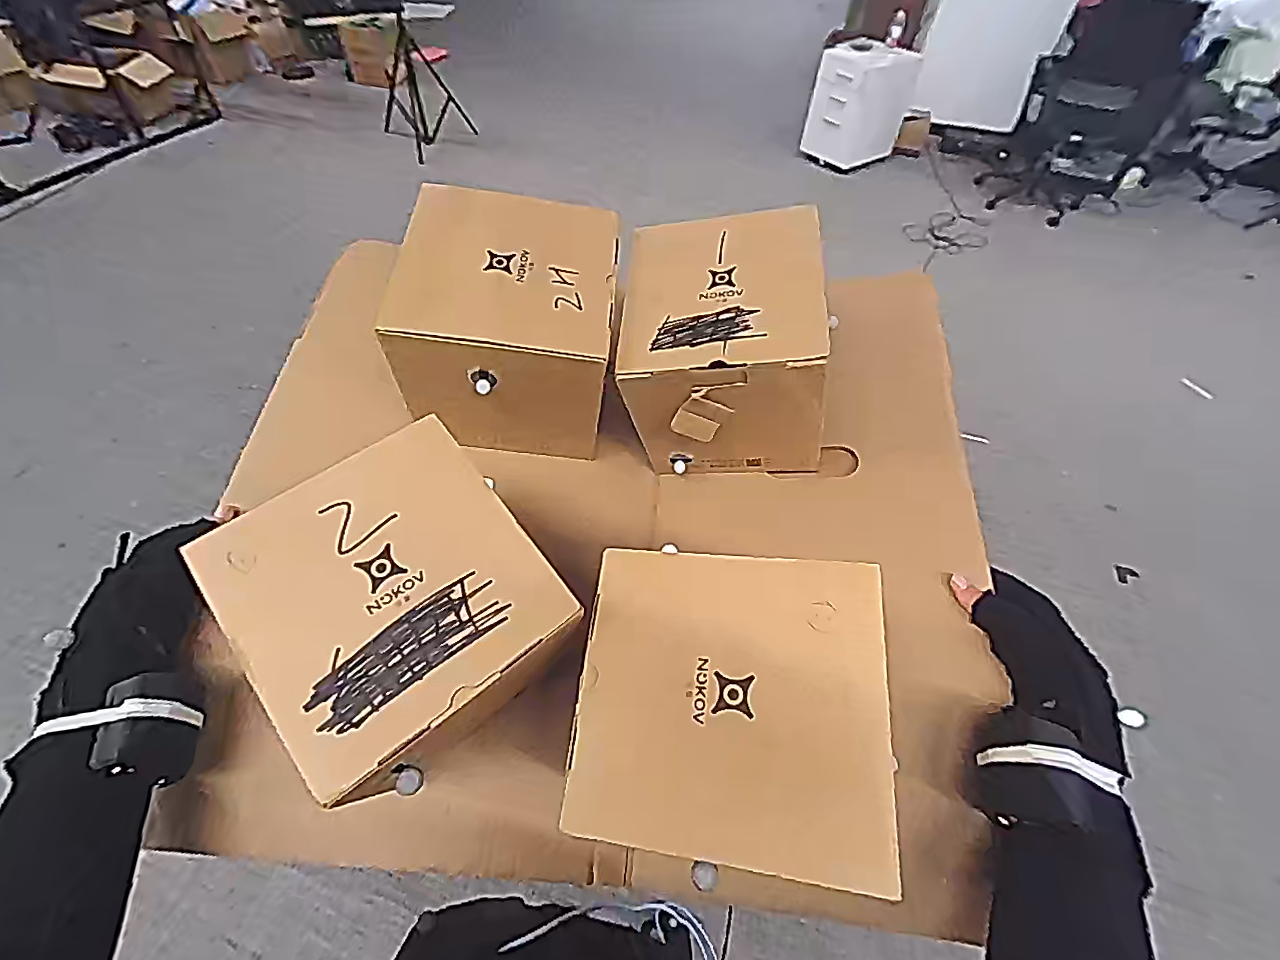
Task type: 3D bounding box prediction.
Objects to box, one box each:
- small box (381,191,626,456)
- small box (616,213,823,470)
[{"bbox_3d":[-0.115,-0.137,0.518,0.179,0.176,0.168,7,64,-6],"label":"small box"},{"bbox_3d":[0.087,-0.119,0.523,0.168,0.176,0.179,0,61,15],"label":"small box"}]
